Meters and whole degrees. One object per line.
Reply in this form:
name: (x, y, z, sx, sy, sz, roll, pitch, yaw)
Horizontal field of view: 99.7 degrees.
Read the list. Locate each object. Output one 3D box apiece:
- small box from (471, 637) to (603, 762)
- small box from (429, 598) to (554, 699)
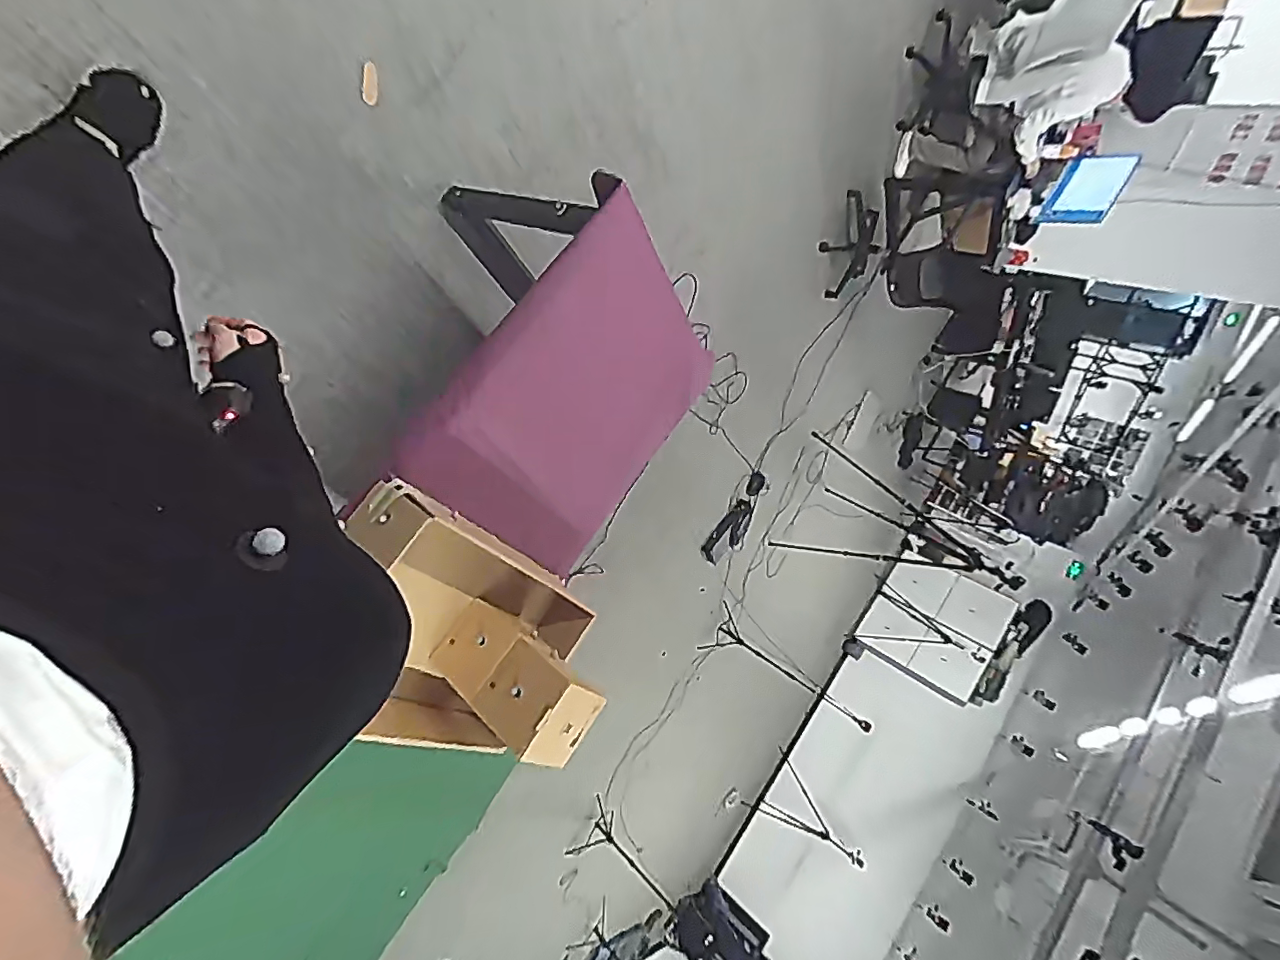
small box: (-0.215, 0.453, 1.128, 0.168, 0.176, 0.179, -53, 143, -14)
small box: (-0.335, 0.389, 1.220, 0.168, 0.176, 0.179, -54, 144, -13)
